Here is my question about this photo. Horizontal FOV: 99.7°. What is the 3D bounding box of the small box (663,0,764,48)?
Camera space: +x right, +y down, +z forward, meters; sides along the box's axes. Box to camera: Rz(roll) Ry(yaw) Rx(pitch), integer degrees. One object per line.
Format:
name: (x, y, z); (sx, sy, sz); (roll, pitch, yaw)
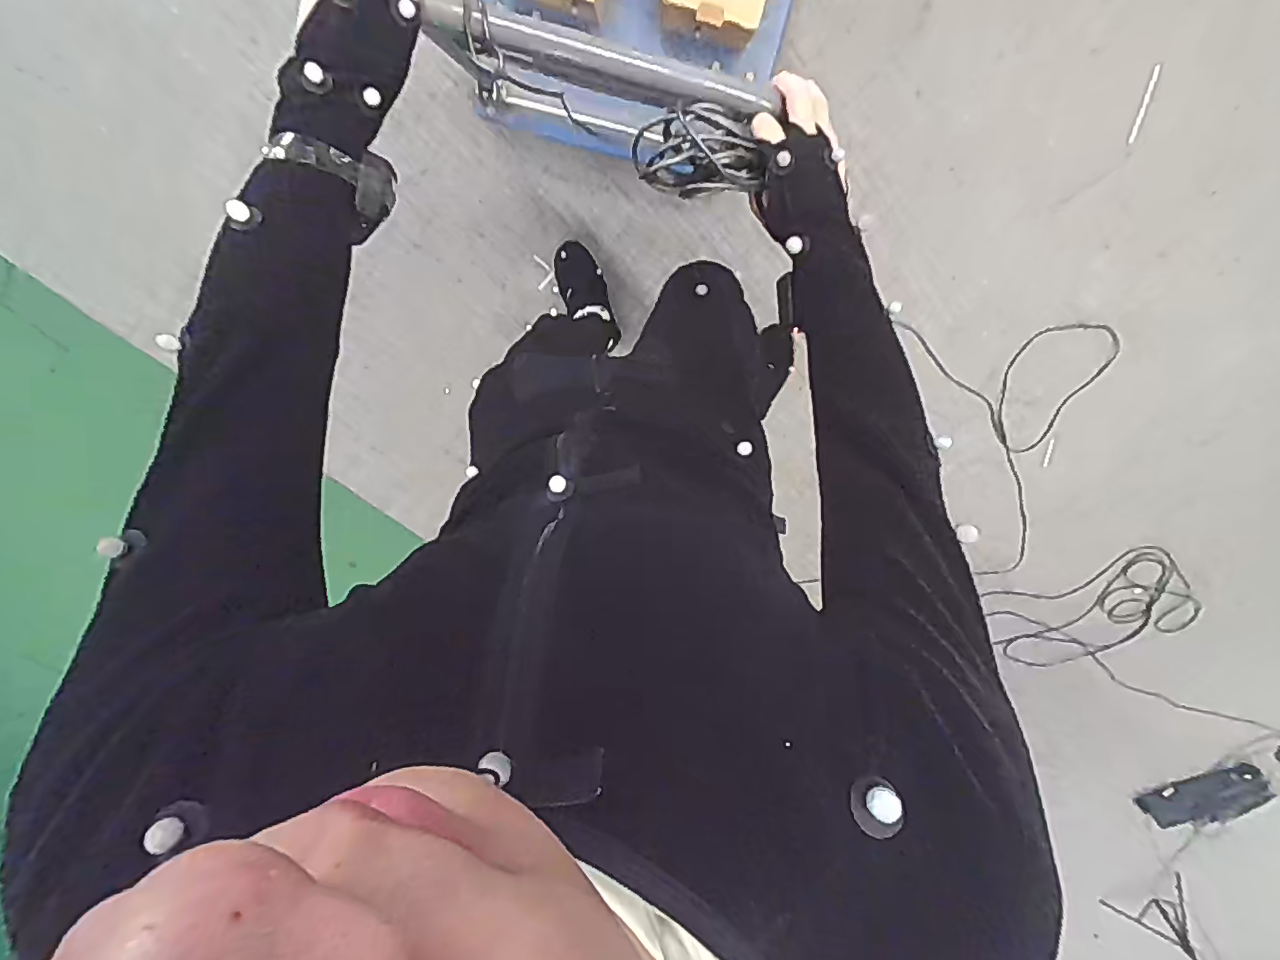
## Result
small box: (0.135, -0.870, 0.910); (0.168, 0.176, 0.179); (13, 120, -5)
